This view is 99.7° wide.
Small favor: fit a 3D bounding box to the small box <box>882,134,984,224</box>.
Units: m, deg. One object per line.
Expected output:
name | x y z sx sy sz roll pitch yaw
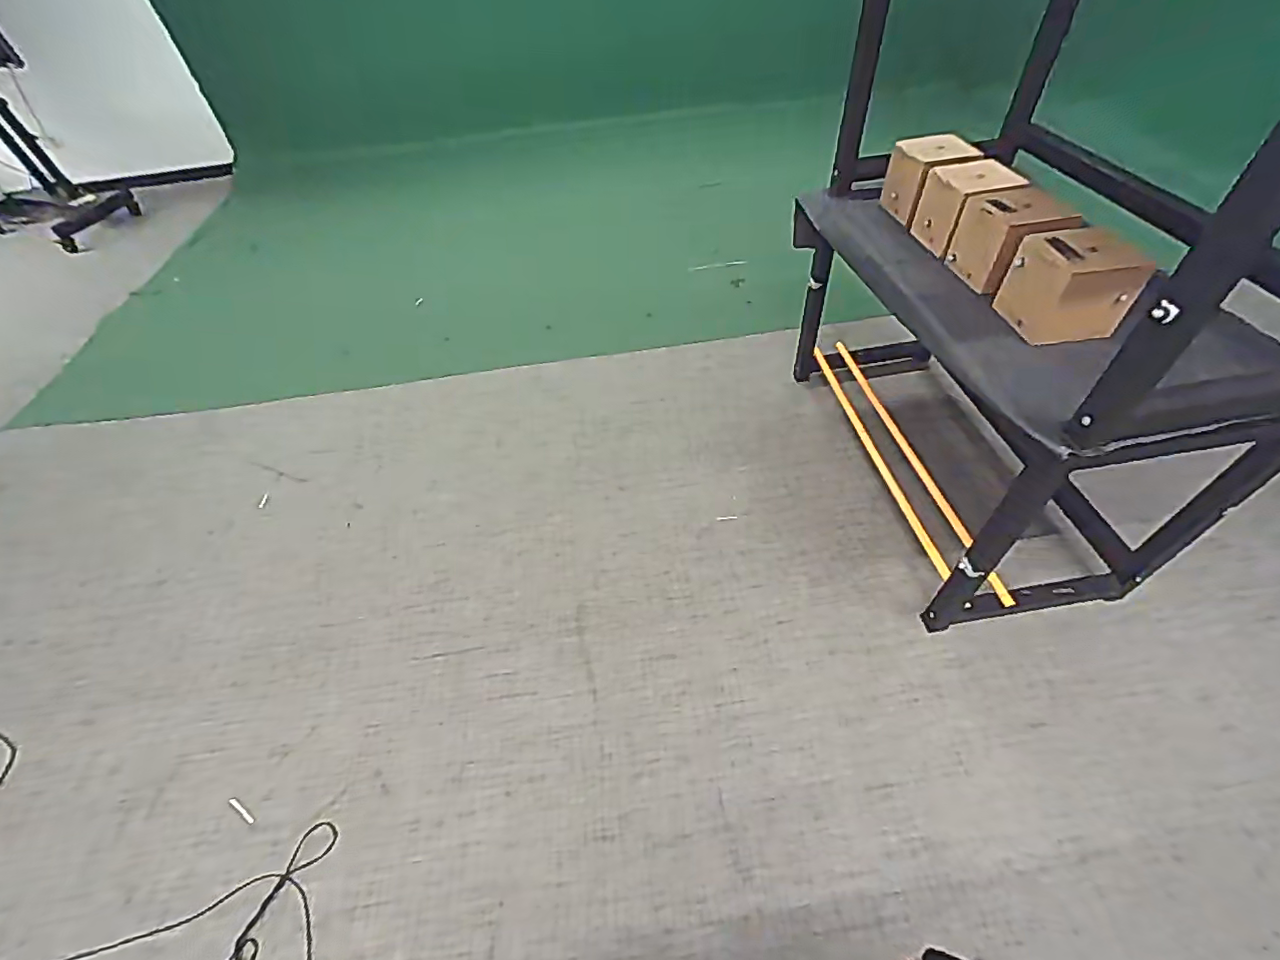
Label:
small box | 0.826 -0.858 1.546 0.179 0.176 0.168 -10 49 -3
